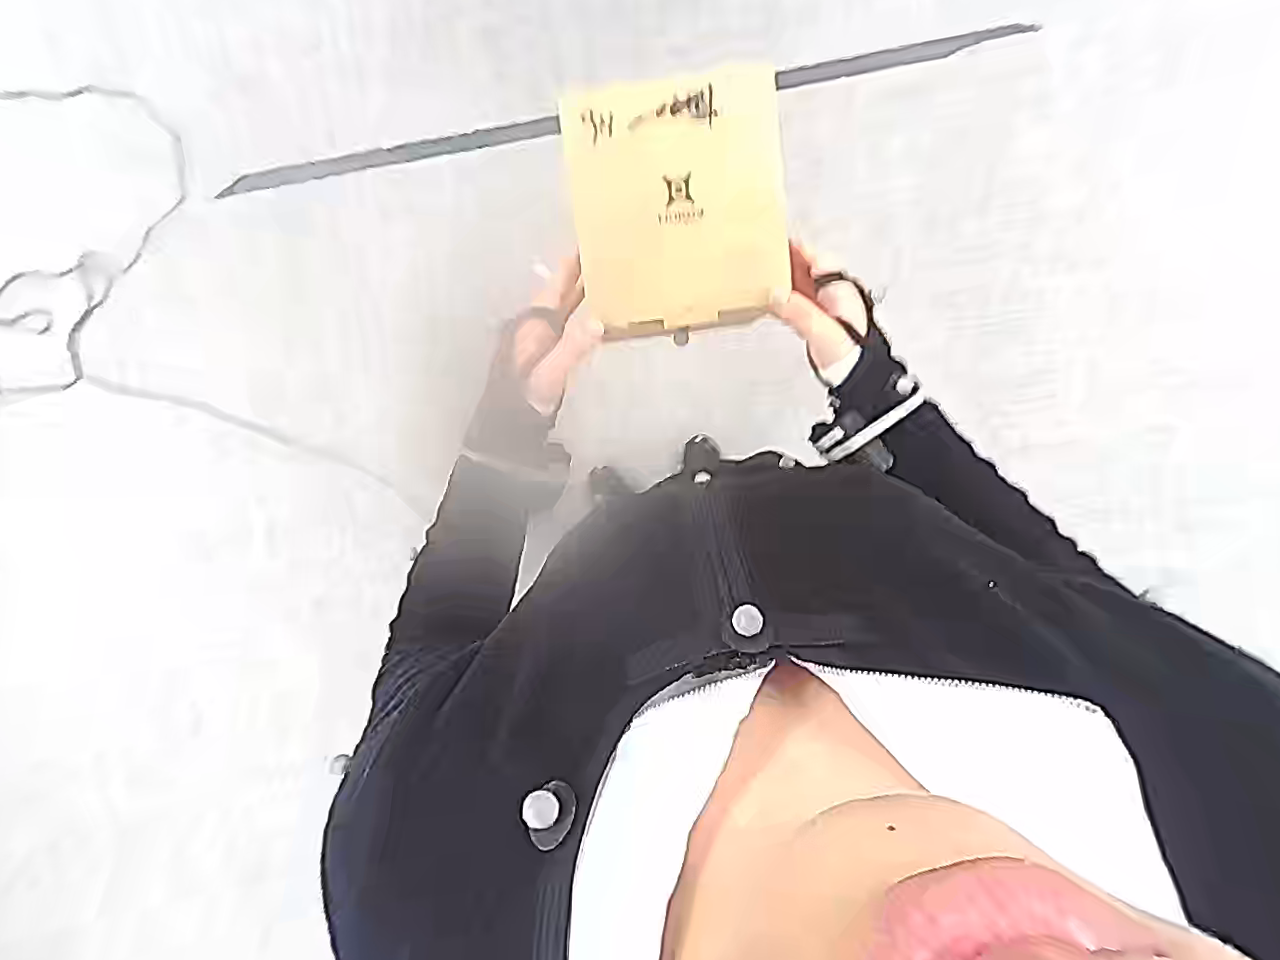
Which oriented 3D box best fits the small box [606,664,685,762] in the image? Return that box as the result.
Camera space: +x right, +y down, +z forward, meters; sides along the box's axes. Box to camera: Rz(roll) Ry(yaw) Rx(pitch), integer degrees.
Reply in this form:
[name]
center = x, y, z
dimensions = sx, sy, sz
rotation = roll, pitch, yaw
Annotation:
[small box]
center = 0.017, 0.589, 1.355
dimensions = 0.168, 0.176, 0.179
rotation = -11, 94, 3
